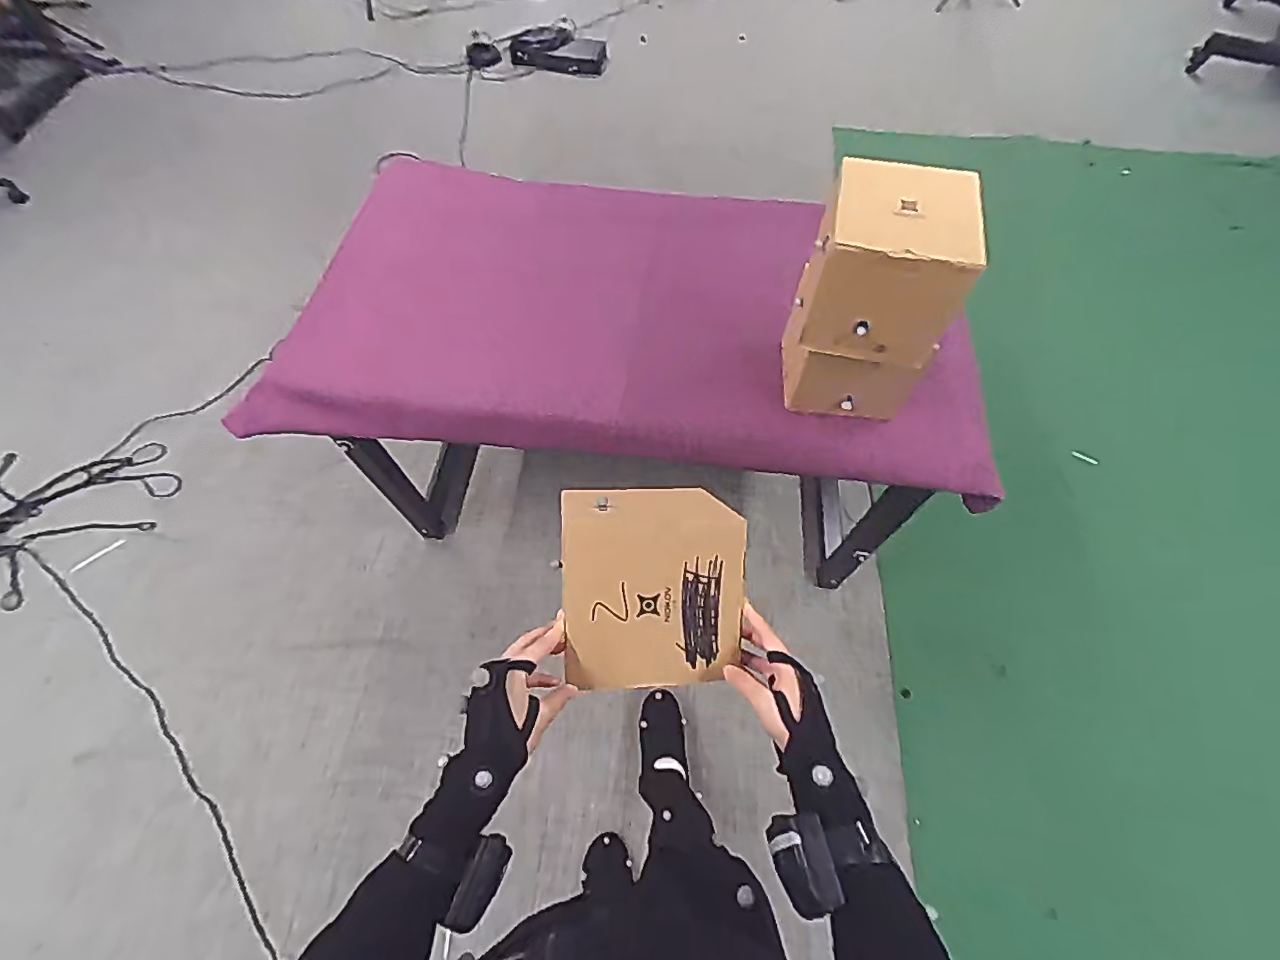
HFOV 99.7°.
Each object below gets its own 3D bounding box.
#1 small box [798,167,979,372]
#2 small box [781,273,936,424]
[{"bbox_3d":[0.313,-0.272,0.710,0.168,0.176,0.179,11,61,8],"label":"small box"},{"bbox_3d":[0.332,-0.205,0.859,0.179,0.176,0.168,5,58,4],"label":"small box"}]
